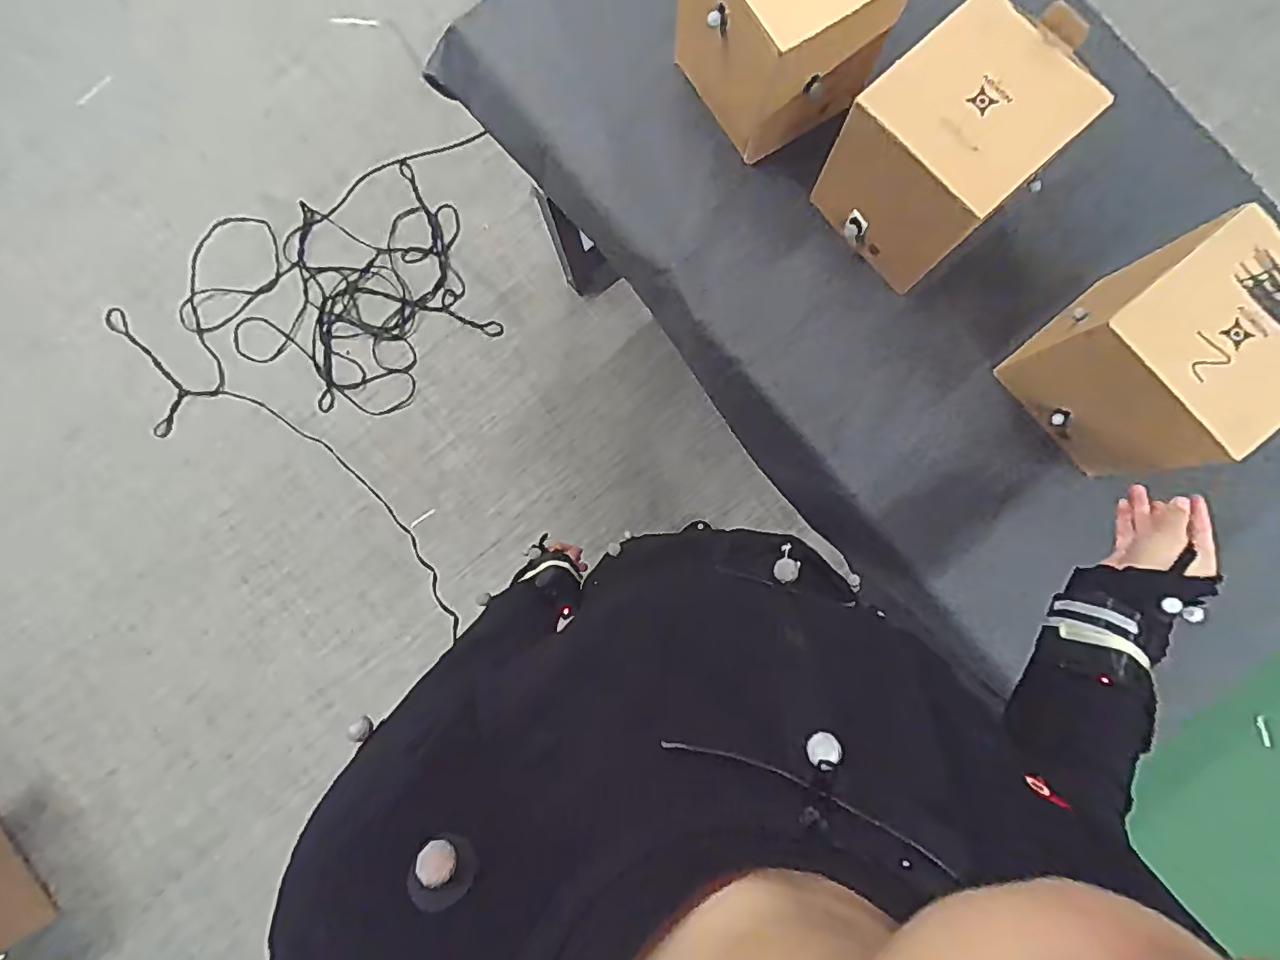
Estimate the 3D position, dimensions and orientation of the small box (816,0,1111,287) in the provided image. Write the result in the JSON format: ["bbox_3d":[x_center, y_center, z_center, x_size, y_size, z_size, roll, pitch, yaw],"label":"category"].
[{"bbox_3d":[0.322,-0.349,0.581,0.179,0.176,0.168,-43,85,-2],"label":"small box"}]

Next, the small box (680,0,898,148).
[{"bbox_3d":[0.158,-0.511,0.596,0.168,0.176,0.179,-32,85,-2],"label":"small box"}]
